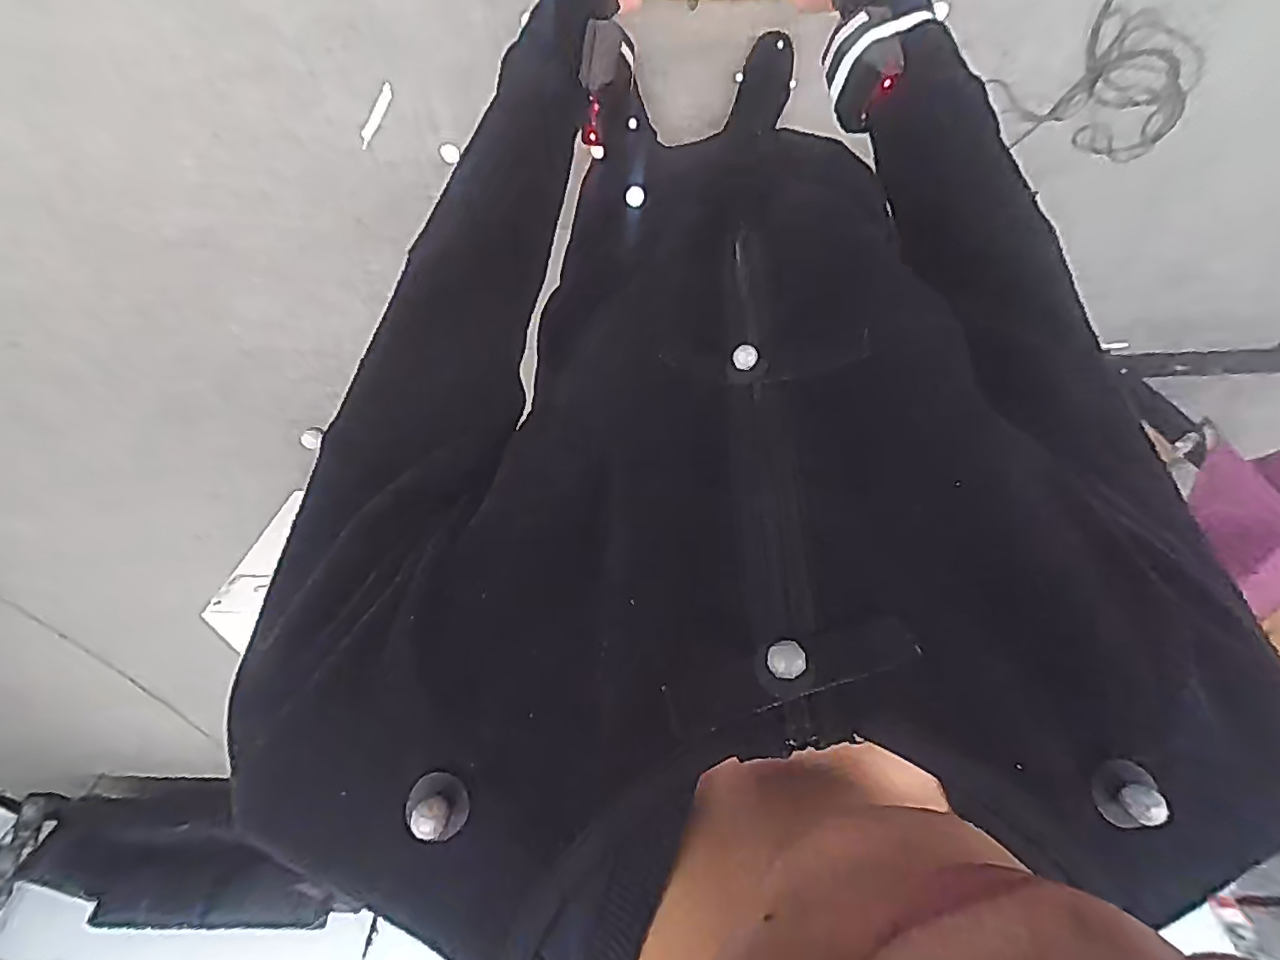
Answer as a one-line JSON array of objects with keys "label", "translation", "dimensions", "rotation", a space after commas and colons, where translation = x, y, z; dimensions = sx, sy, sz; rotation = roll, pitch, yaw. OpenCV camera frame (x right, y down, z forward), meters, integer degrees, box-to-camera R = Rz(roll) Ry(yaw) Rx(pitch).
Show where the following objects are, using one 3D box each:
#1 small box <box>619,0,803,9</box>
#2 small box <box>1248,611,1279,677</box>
[{"label": "small box", "translation": [0.063, -0.555, 0.499], "dimensions": [0.179, 0.176, 0.168], "rotation": [-2, 135, -3]}, {"label": "small box", "translation": [1.530, 0.373, 1.179], "dimensions": [0.179, 0.176, 0.168], "rotation": [-1, 132, 4]}]
